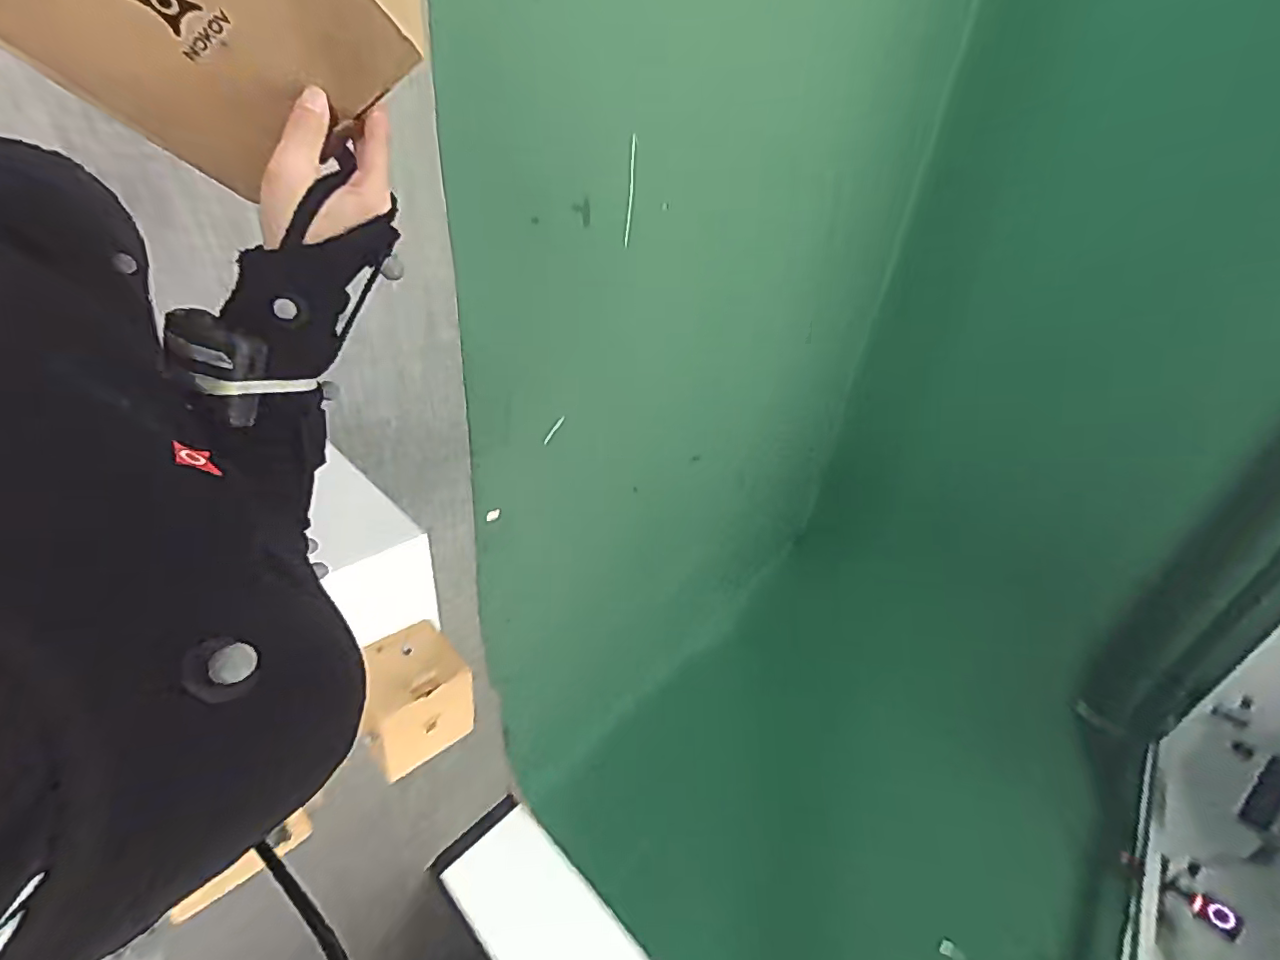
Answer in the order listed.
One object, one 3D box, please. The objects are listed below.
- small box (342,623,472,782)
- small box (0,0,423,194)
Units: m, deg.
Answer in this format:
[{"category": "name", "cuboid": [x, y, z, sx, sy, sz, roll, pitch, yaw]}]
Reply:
[{"category": "small box", "cuboid": [-0.431, 0.404, 1.009, 0.168, 0.176, 0.179, -22, 131, -42]}, {"category": "small box", "cuboid": [-0.248, -0.314, 0.295, 0.168, 0.176, 0.179, -23, 157, 23]}]
